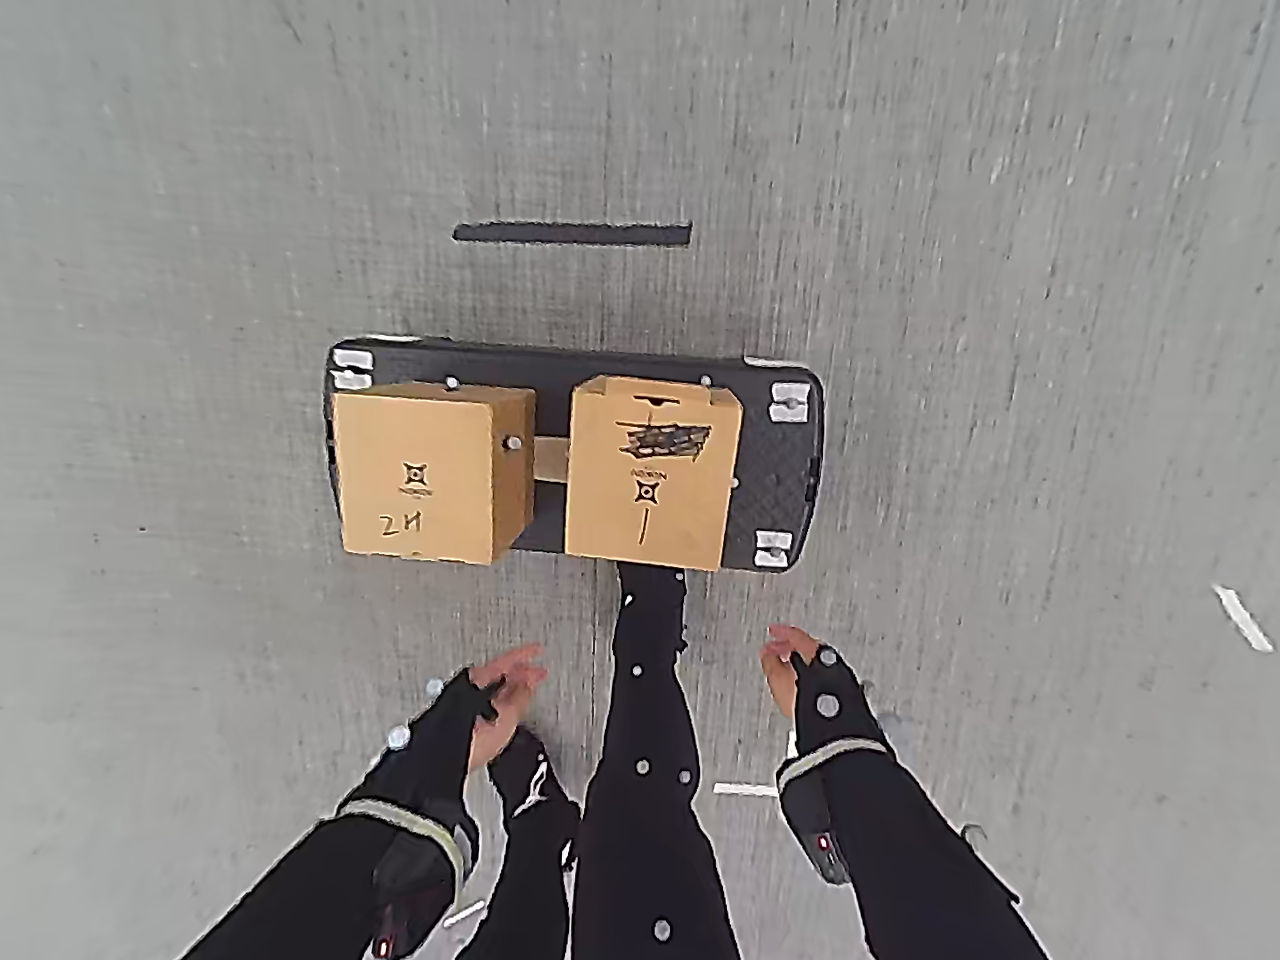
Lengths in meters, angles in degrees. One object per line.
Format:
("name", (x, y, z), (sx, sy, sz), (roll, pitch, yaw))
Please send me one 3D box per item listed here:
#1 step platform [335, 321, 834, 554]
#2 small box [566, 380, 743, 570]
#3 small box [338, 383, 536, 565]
("step platform", (-0.077, -0.069, 0.796), (0.684, 0.204, 0.286), (4, 104, 4))
("small box", (0.016, -0.018, 0.623), (0.168, 0.176, 0.179), (6, 106, 3))
("small box", (-0.225, -0.018, 0.639), (0.168, 0.176, 0.179), (5, 105, 4))
